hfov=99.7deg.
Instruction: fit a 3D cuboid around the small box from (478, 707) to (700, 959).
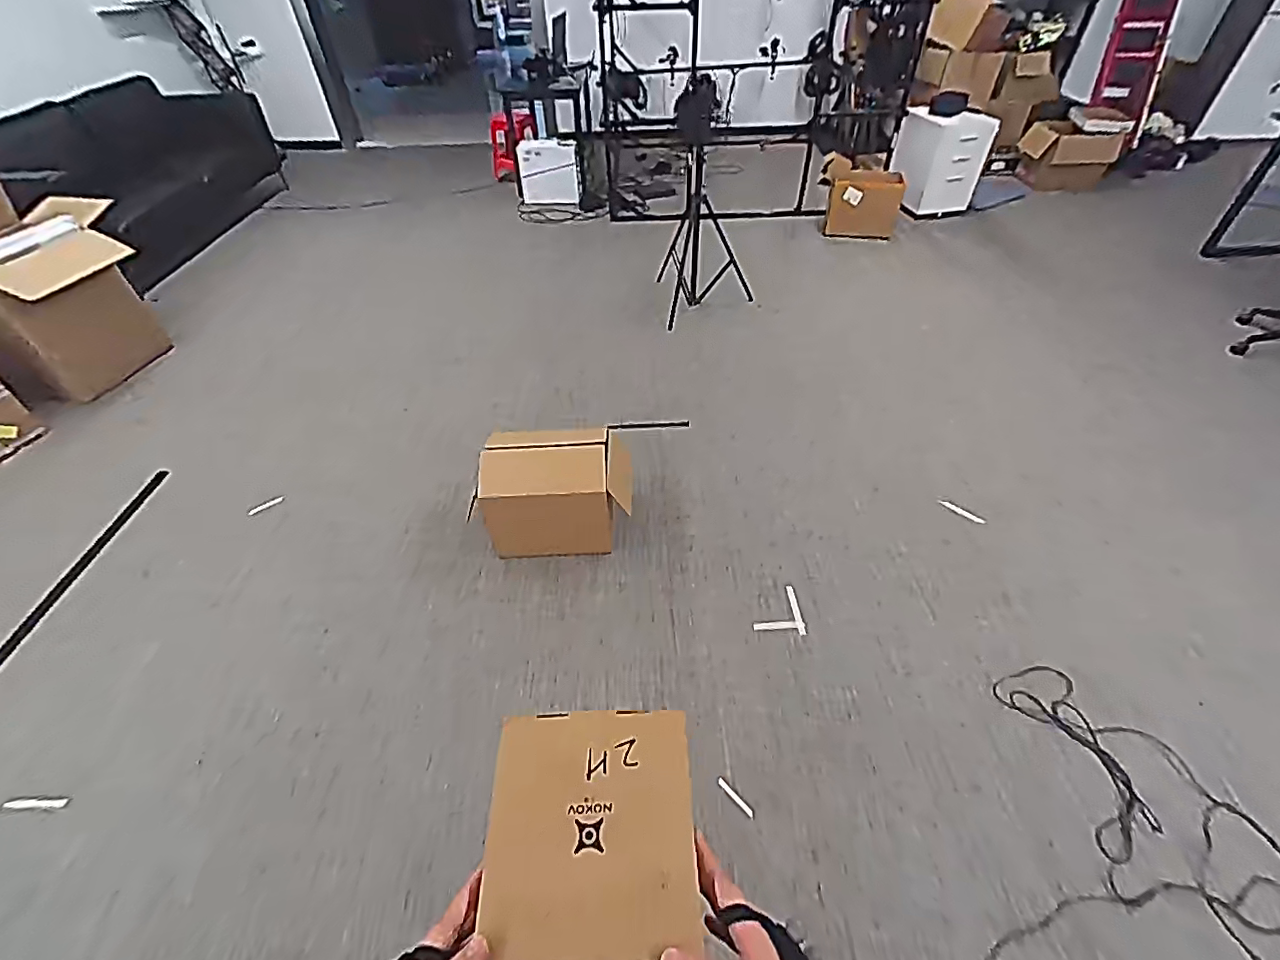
[{"bbox_3d":[-0.037,0.332,0.502,0.168,0.176,0.179,-2,46,-1],"label":"small box"}]
